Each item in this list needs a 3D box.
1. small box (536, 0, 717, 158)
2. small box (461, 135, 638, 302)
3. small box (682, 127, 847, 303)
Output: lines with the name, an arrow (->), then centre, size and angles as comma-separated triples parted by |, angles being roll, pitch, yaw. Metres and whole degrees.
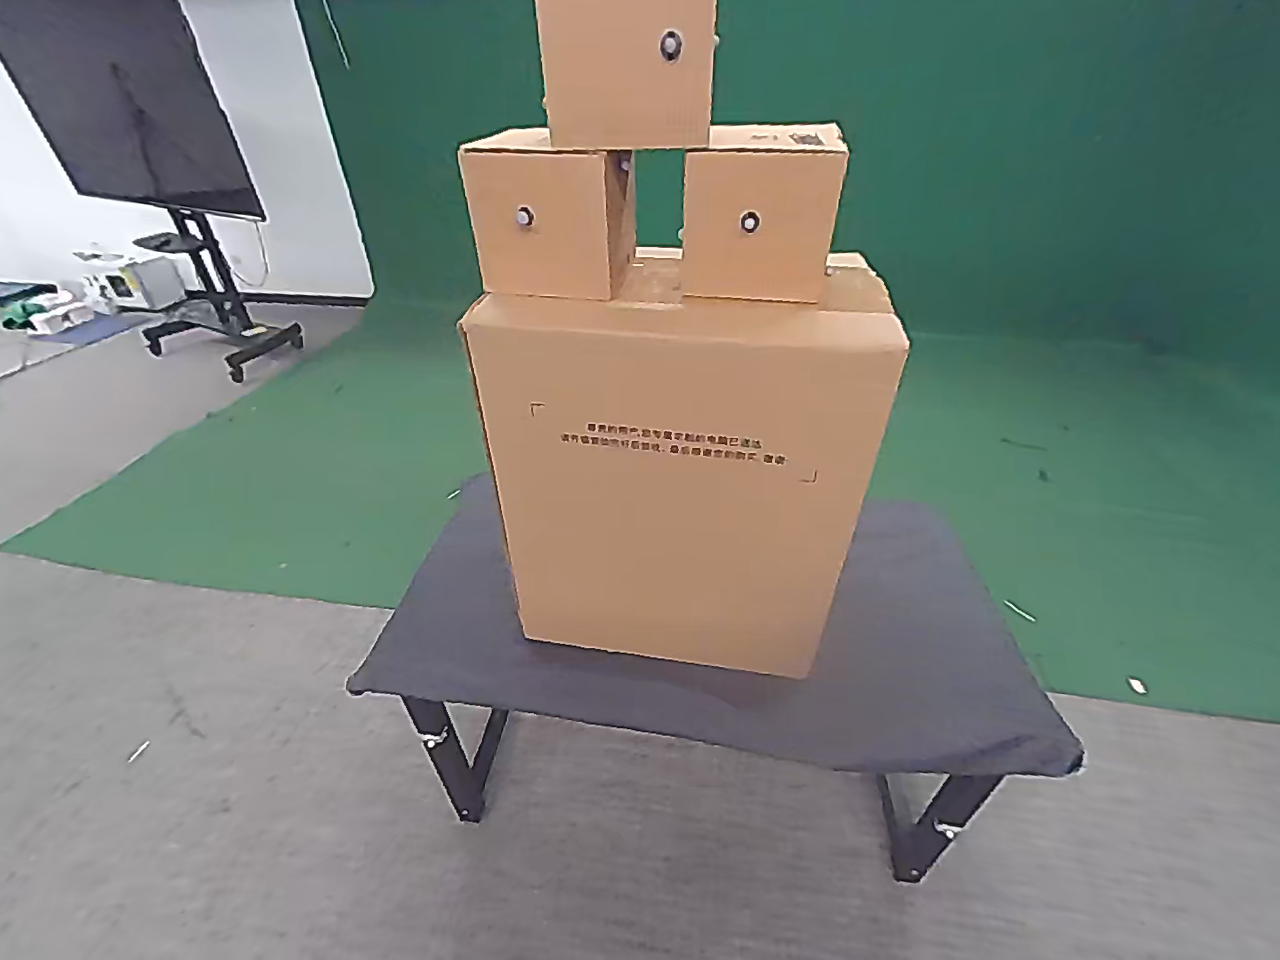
small box -> -0.010, -0.467, 0.603 | 0.179, 0.176, 0.168 | -1, 39, 2
small box -> -0.104, -0.347, 0.718 | 0.179, 0.176, 0.168 | 7, 41, 10
small box -> 0.153, -0.338, 0.694 | 0.179, 0.176, 0.168 | 6, 41, 10
